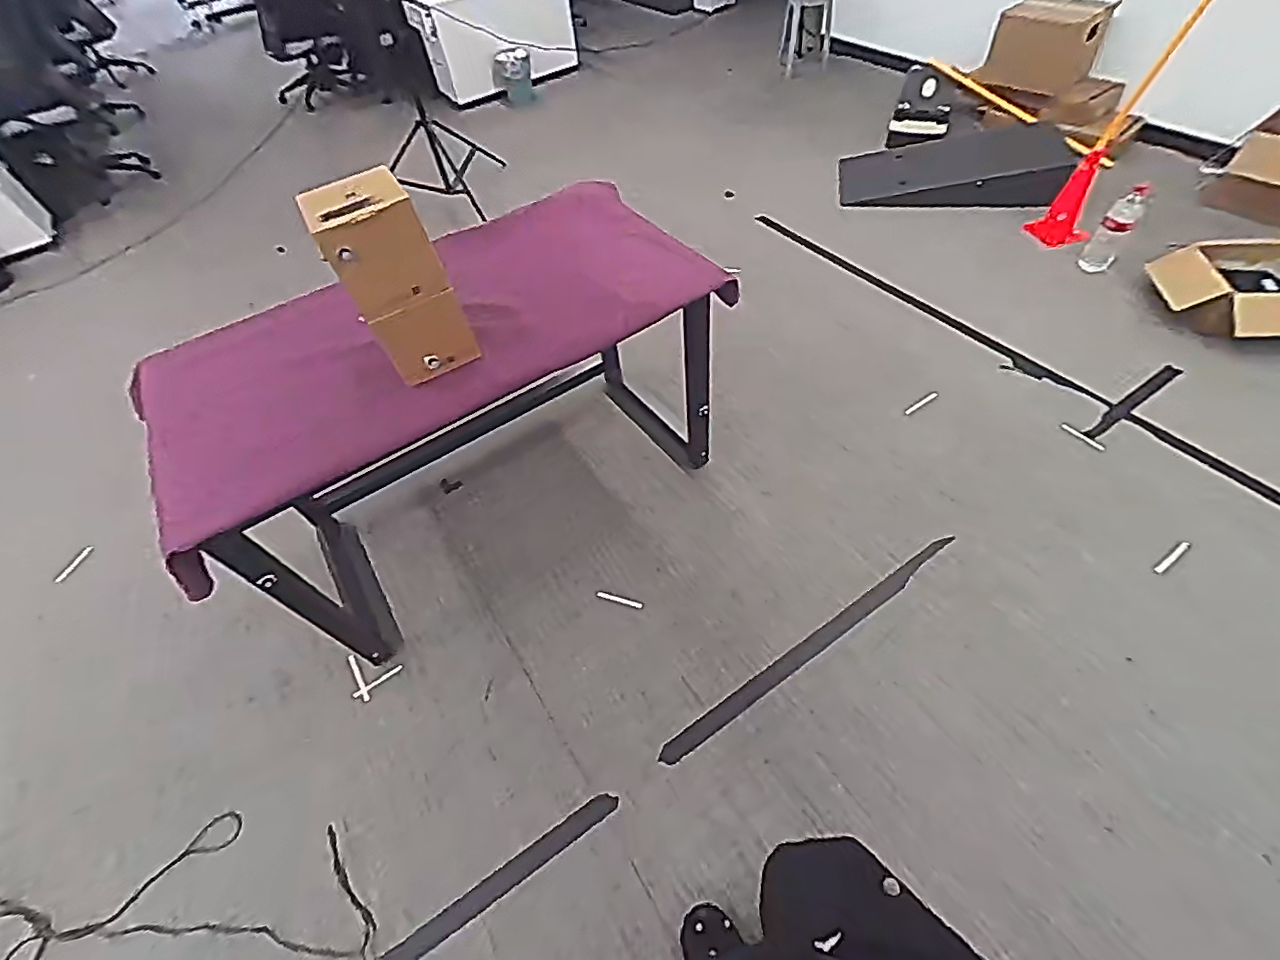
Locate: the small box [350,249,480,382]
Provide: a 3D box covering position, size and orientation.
[{"bbox_3d":[-0.453,-0.332,1.103,0.168,0.176,0.179,-30,56,-14],"label":"small box"}]
